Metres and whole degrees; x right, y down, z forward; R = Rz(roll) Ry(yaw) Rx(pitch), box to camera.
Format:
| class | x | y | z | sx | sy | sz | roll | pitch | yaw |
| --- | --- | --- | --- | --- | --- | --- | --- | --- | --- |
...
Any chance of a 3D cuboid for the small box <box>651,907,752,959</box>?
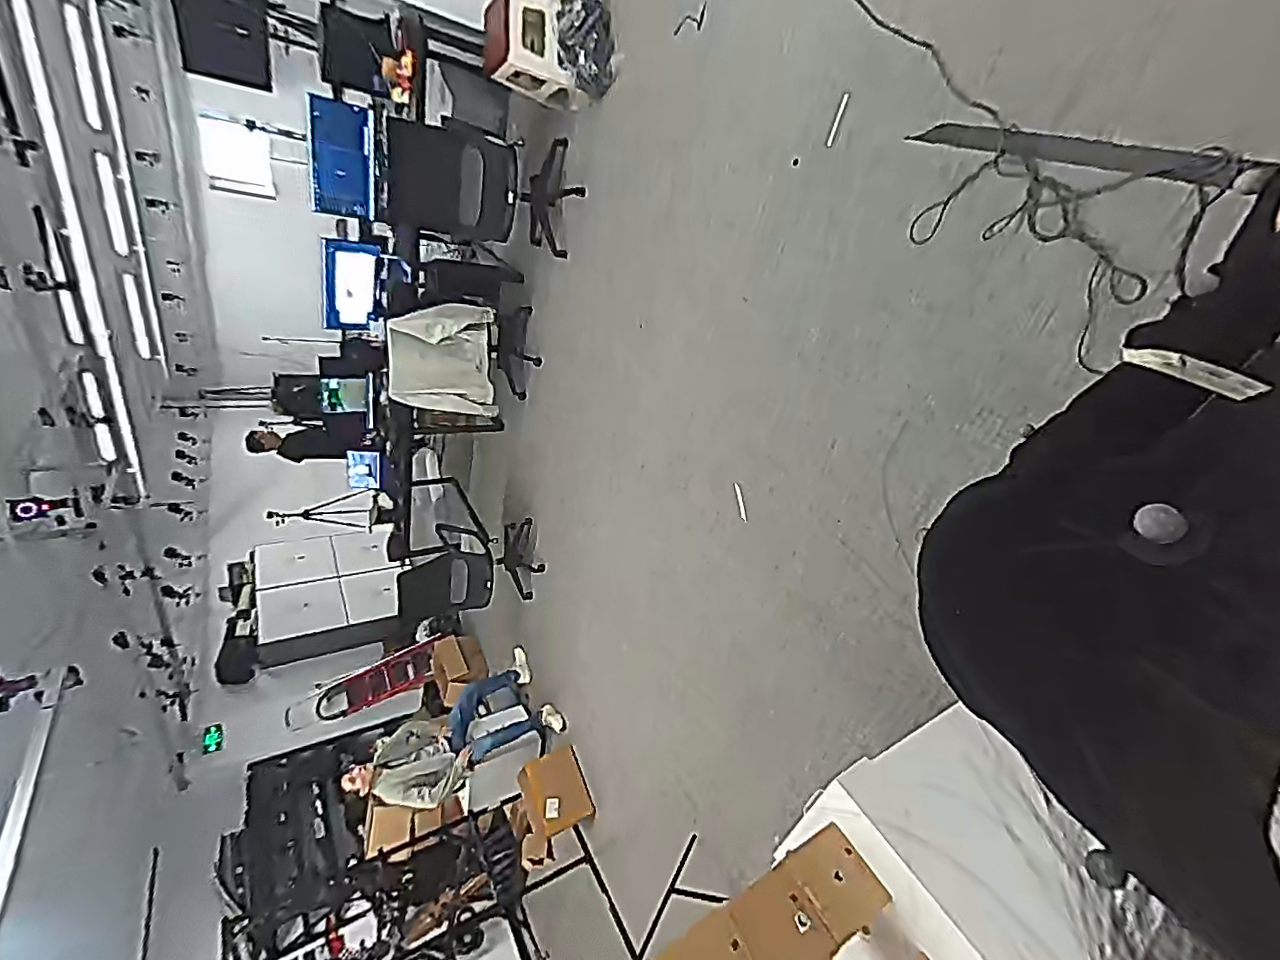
| class | x | y | z | sx | sy | sz | roll | pitch | yaw |
| --- | --- | --- | --- | --- | --- | --- | --- | --- | --- |
| small box | 0.108 | 0.911 | 0.958 | 0.168 | 0.176 | 0.179 | 49 | 135 | 38 |

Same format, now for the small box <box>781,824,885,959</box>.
| class | x | y | z | sx | sy | sz | roll | pitch | yaw |
| --- | --- | --- | --- | --- | --- | --- | --- | --- | --- |
| small box | 0.379 | 0.871 | 1.136 | 0.168 | 0.176 | 0.179 | 48 | 132 | 41 |

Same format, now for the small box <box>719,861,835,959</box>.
| class | x | y | z | sx | sy | sz | roll | pitch | yaw |
| --- | --- | --- | --- | --- | --- | --- | --- | --- | --- |
| small box | 0.243 | 0.895 | 1.050 | 0.168 | 0.176 | 0.179 | 47 | 132 | 39 |
